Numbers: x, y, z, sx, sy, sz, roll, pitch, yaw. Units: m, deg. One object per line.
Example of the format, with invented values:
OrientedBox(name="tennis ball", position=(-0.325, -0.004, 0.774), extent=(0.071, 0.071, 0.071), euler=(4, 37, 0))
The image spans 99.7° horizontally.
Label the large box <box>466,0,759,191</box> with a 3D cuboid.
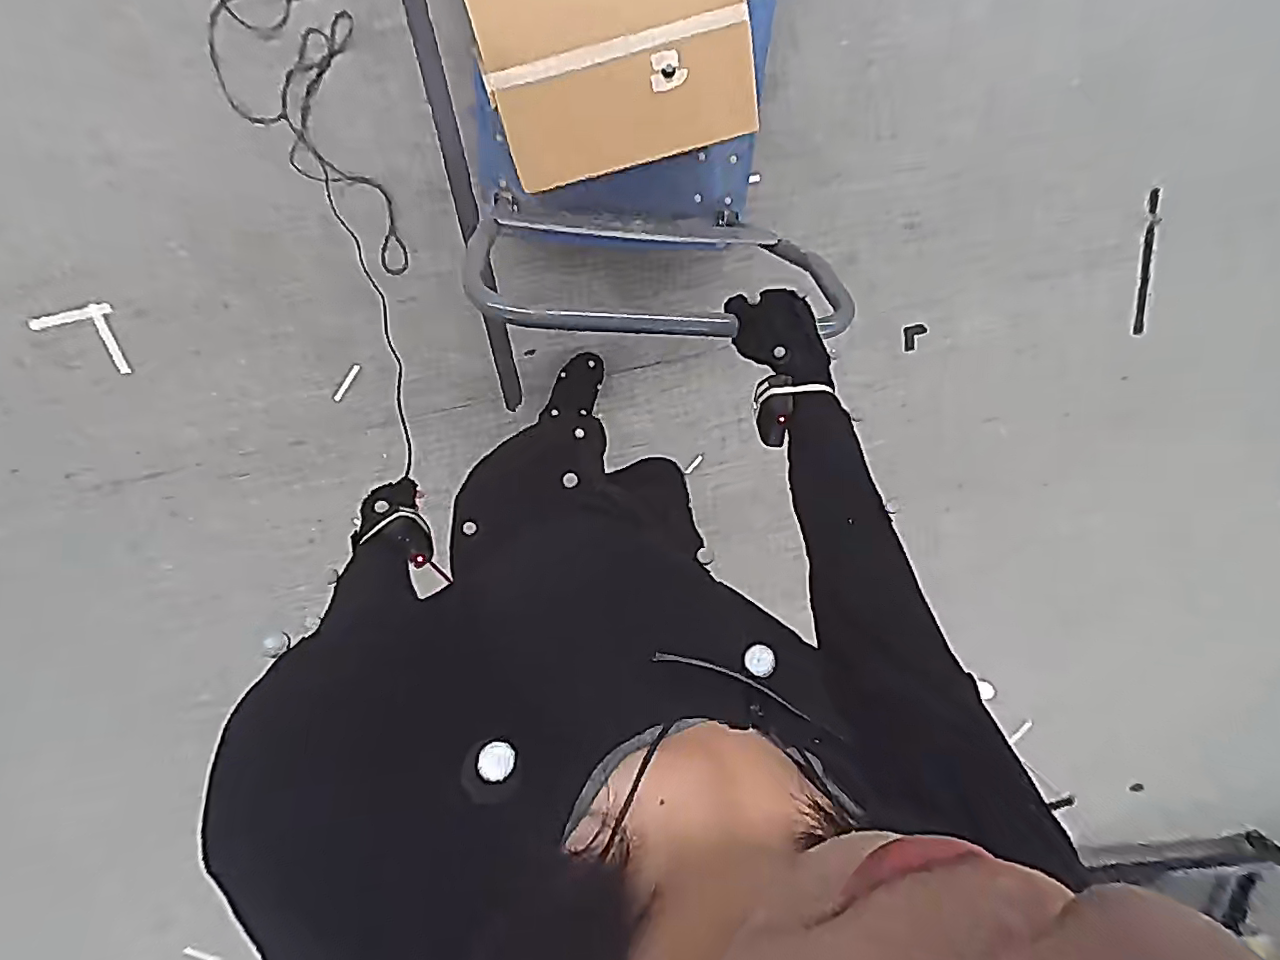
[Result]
OrientedBox(name="large box", position=(-0.053, -0.729, 0.944), extent=(0.408, 0.320, 0.320), euler=(-17, 120, -1))
